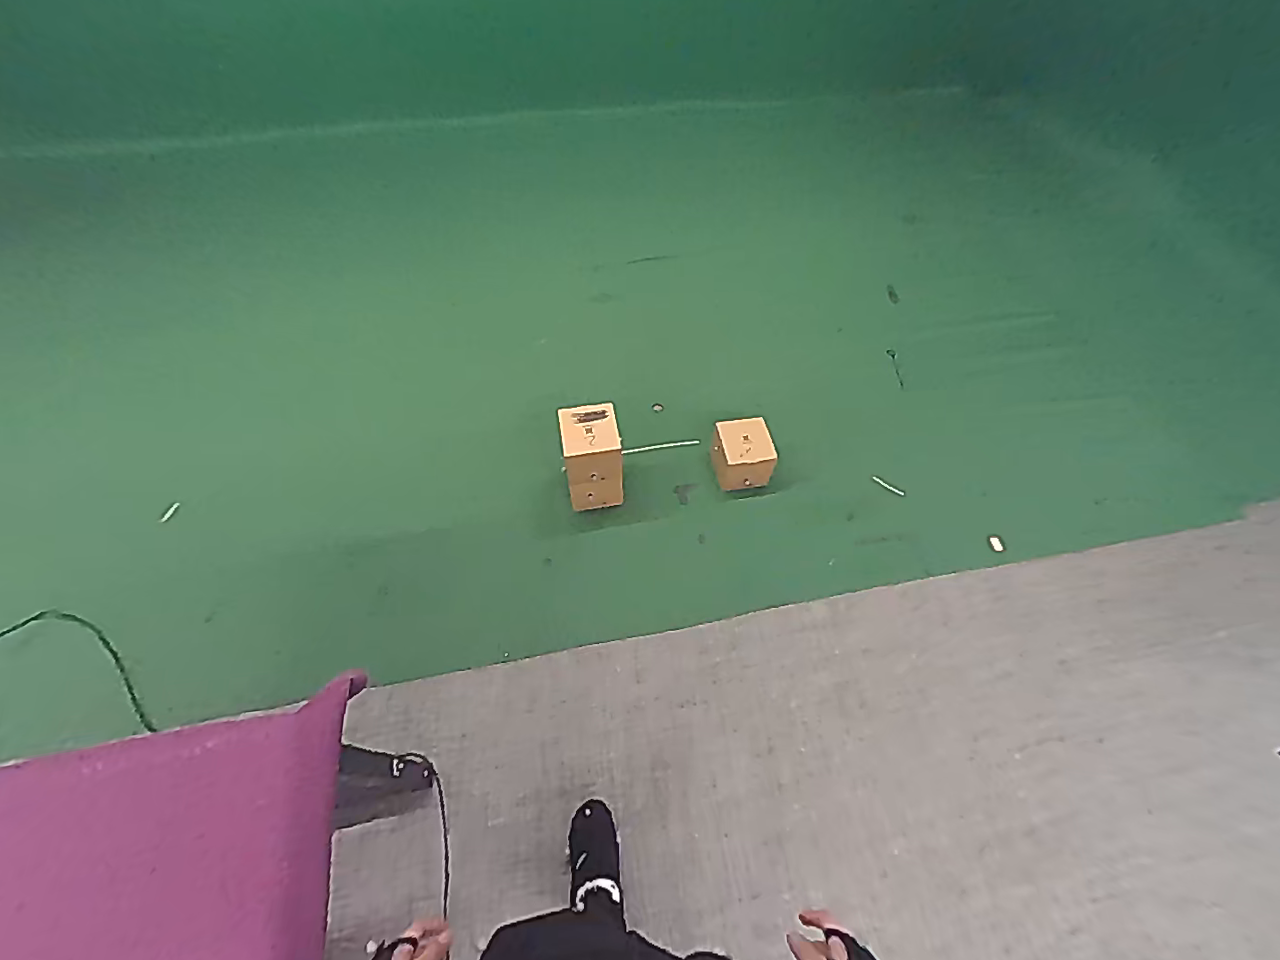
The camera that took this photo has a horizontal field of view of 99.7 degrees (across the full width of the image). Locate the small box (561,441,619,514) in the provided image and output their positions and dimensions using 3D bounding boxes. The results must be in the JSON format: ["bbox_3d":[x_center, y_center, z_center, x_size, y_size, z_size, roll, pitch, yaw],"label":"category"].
[{"bbox_3d":[-0.162,-0.001,1.777,0.168,0.176,0.179,-9,57,-8],"label":"small box"}]

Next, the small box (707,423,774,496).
[{"bbox_3d":[0.333,-0.068,1.838,0.168,0.176,0.179,-7,58,-7],"label":"small box"}]
